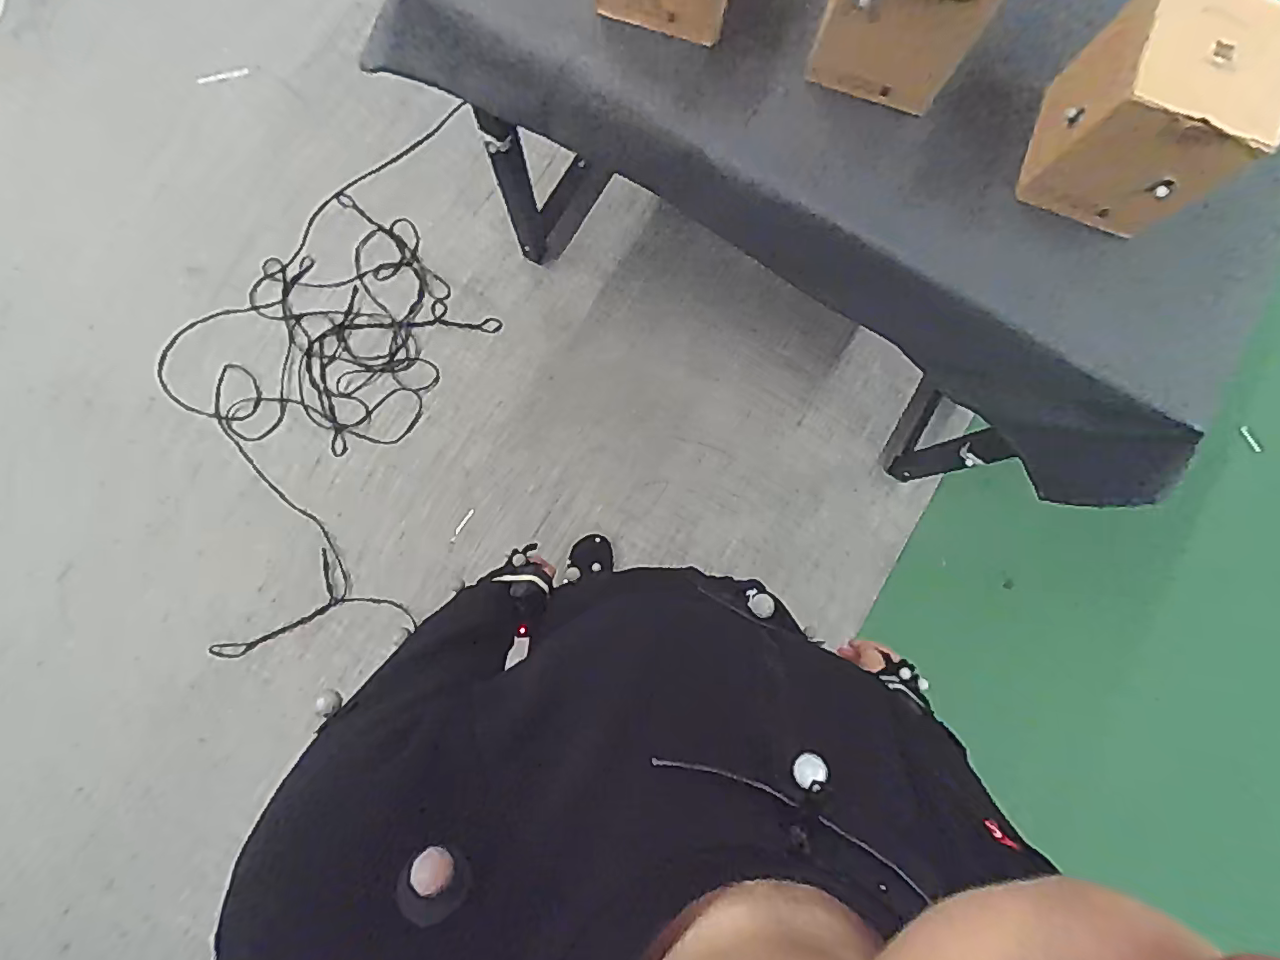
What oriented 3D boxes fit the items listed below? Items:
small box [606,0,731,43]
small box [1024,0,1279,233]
[{"bbox_3d":[0.052,-0.691,0.648,0.168,0.176,0.179,16,84,-1],"label":"small box"},{"bbox_3d":[0.603,-0.432,0.640,0.168,0.176,0.179,20,82,-1],"label":"small box"}]
